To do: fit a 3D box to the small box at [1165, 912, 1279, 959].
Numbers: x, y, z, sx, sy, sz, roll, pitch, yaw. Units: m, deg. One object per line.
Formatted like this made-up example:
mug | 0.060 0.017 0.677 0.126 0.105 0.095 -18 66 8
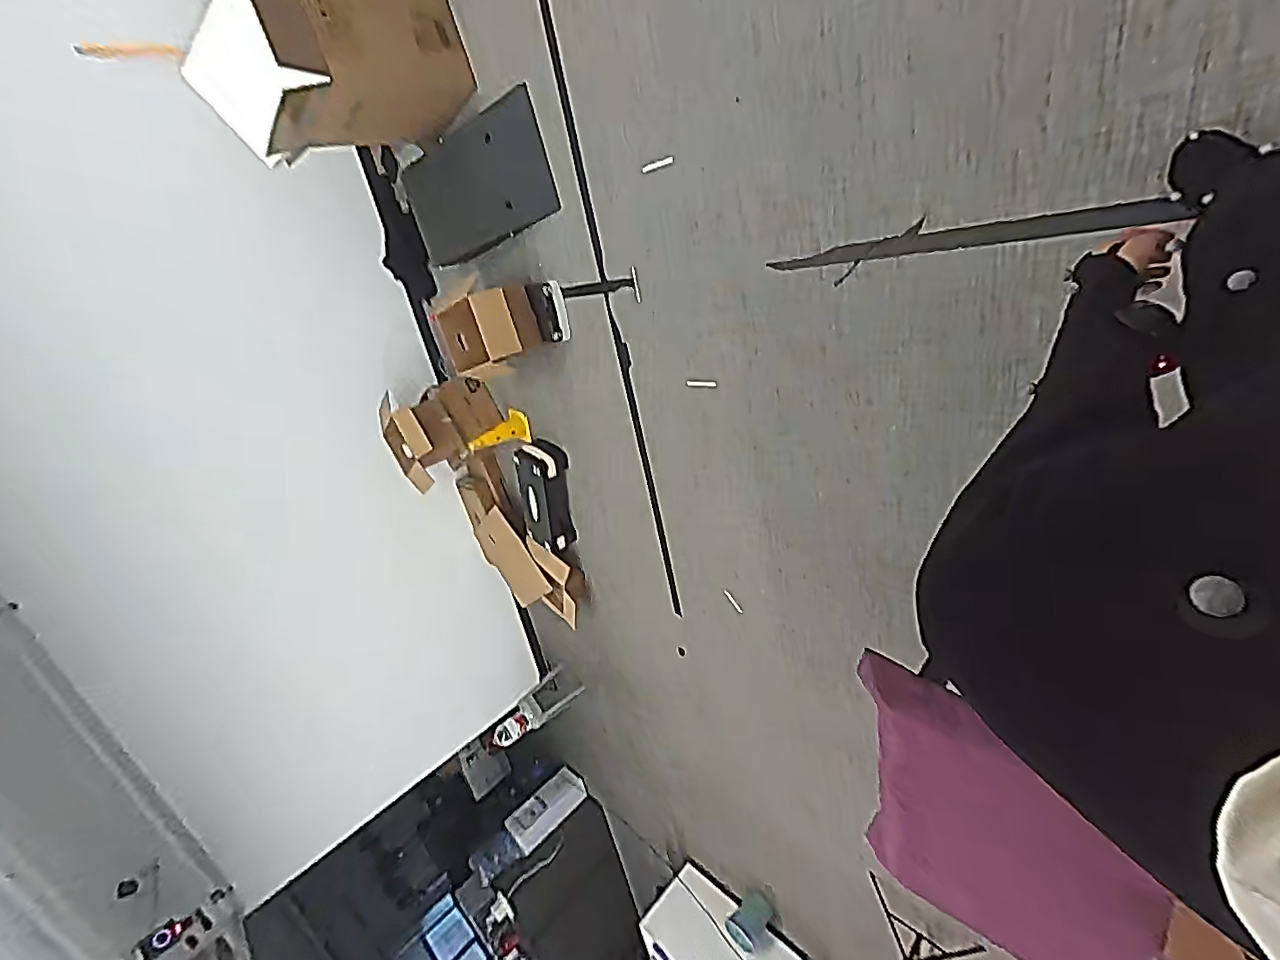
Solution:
small box | 0.932 0.826 0.836 0.179 0.176 0.168 10 123 48
